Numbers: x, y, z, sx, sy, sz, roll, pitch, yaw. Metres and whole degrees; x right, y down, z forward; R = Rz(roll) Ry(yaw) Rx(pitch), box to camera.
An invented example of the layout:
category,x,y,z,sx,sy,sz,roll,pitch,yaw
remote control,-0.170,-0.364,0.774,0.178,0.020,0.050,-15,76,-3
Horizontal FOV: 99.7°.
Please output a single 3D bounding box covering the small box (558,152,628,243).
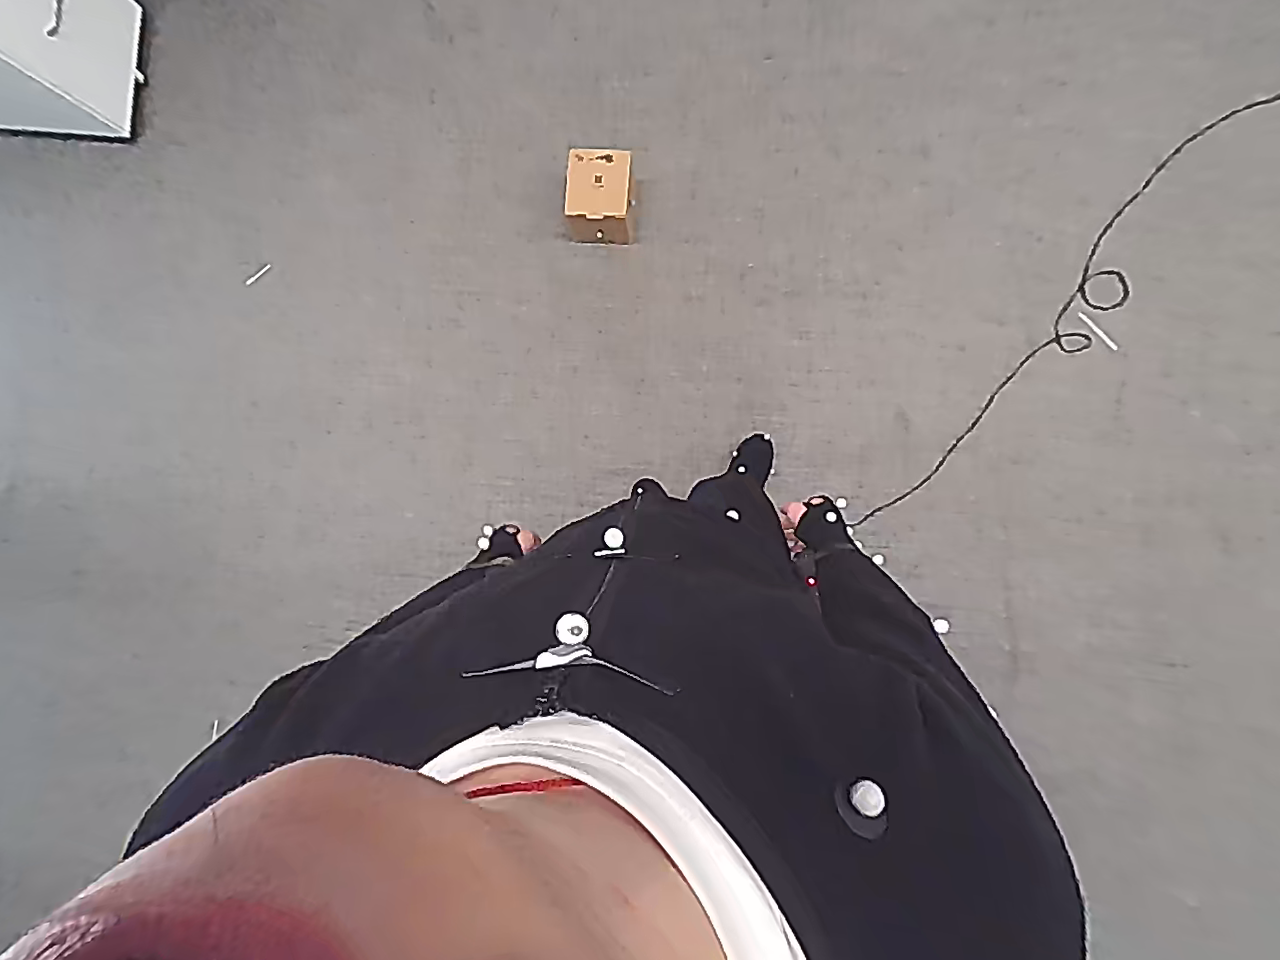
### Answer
category,x,y,z,sx,sy,sz,roll,pitch,yaw
small box,-0.125,-0.776,1.500,0.168,0.176,0.179,2,90,5
